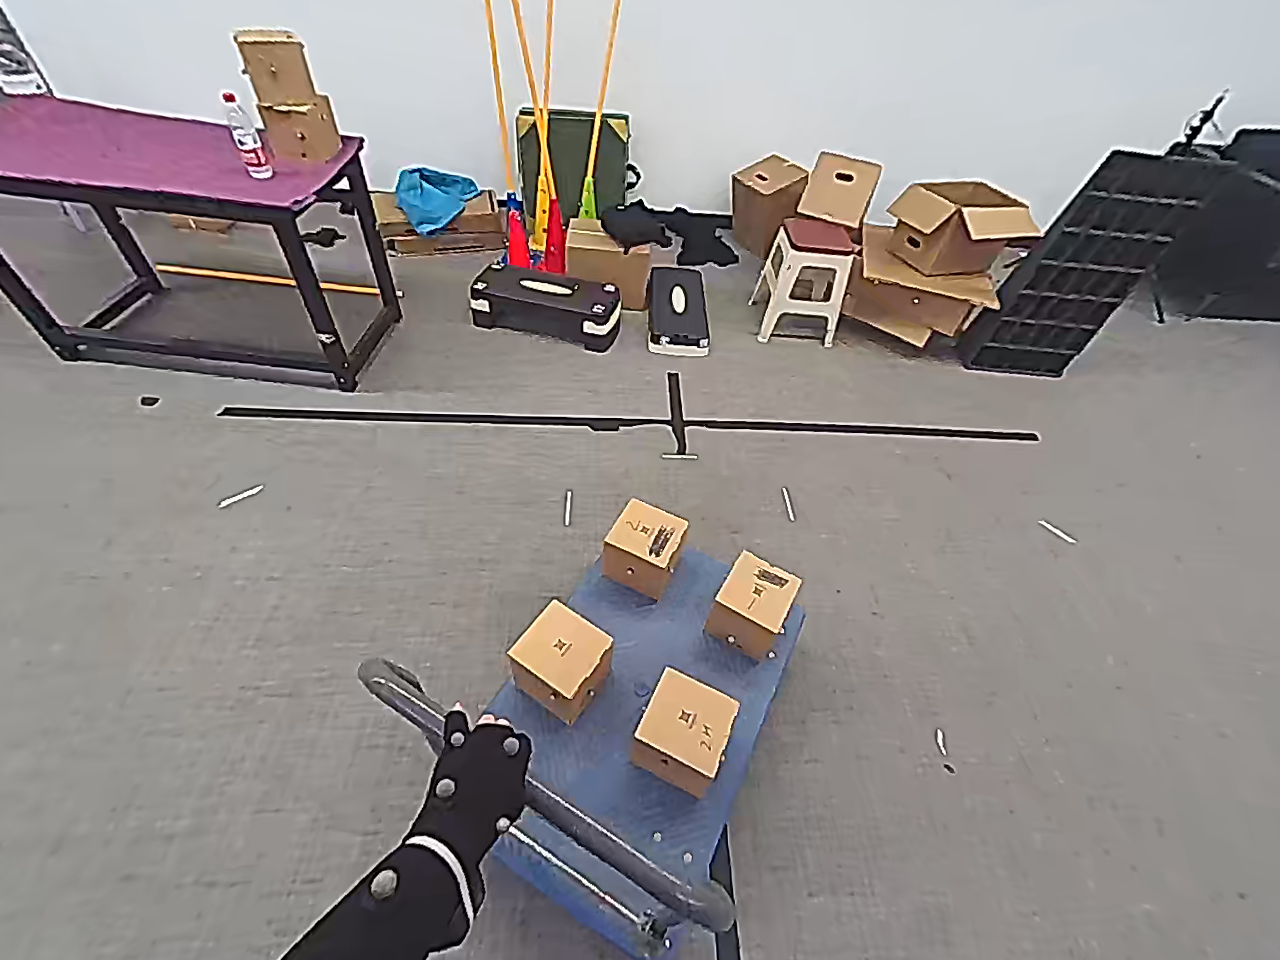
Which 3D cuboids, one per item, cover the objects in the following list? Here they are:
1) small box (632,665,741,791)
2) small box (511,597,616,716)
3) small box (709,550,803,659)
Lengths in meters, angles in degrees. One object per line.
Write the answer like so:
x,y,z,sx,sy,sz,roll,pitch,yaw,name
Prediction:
0.094,0.540,1.169,0.179,0.176,0.168,24,50,14,small box
-0.176,0.412,1.250,0.179,0.176,0.168,30,51,17,small box
0.291,0.320,1.386,0.168,0.176,0.179,28,53,17,small box
